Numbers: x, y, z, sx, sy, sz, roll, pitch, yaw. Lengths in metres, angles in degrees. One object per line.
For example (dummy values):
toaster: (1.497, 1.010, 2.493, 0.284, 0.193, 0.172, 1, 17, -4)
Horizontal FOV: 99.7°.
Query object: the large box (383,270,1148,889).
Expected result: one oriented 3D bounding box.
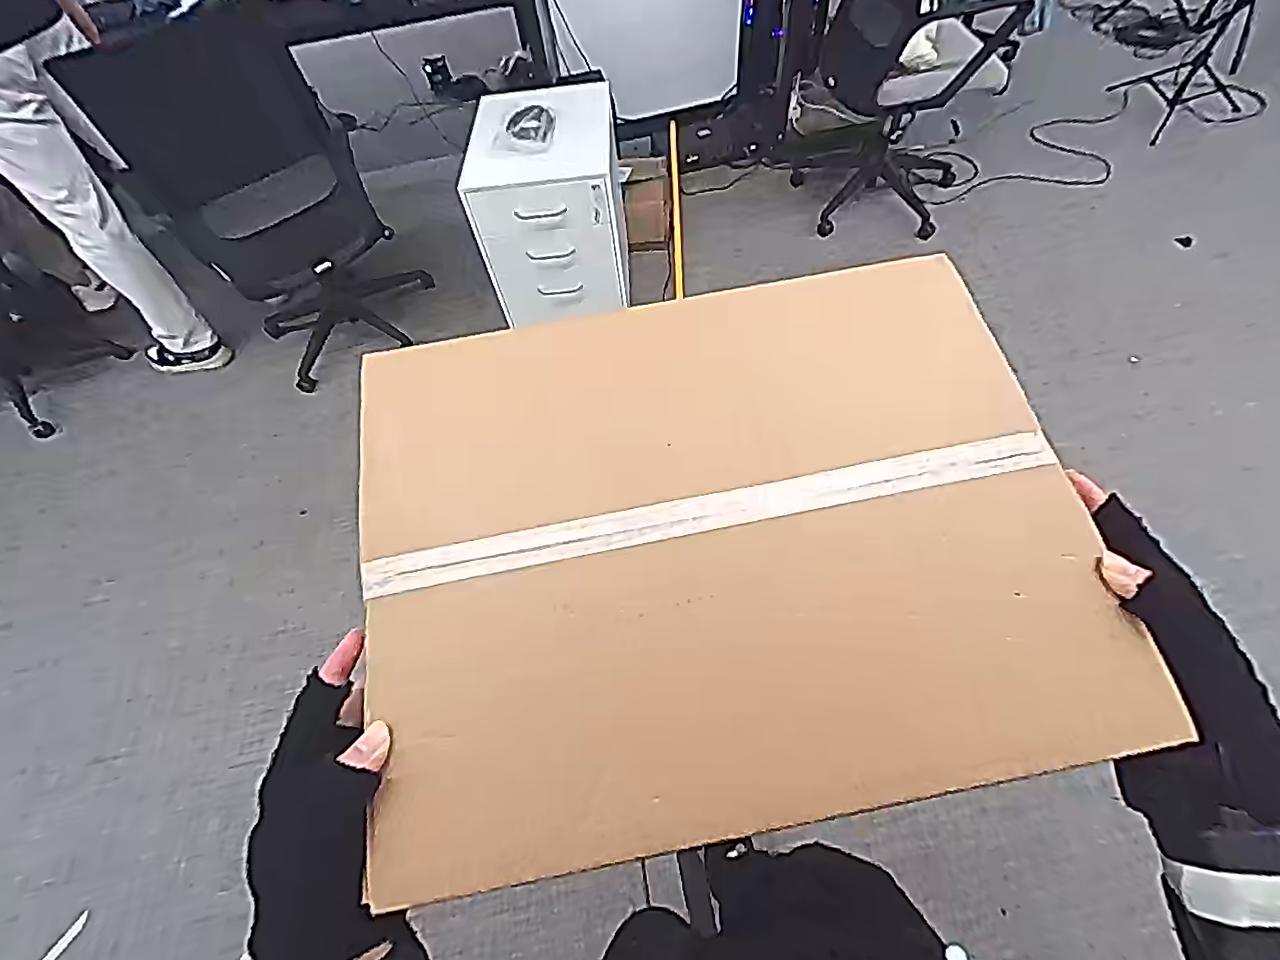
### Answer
large box: (0.049, 0.080, 0.466, 0.408, 0.320, 0.320, -11, 69, -2)
